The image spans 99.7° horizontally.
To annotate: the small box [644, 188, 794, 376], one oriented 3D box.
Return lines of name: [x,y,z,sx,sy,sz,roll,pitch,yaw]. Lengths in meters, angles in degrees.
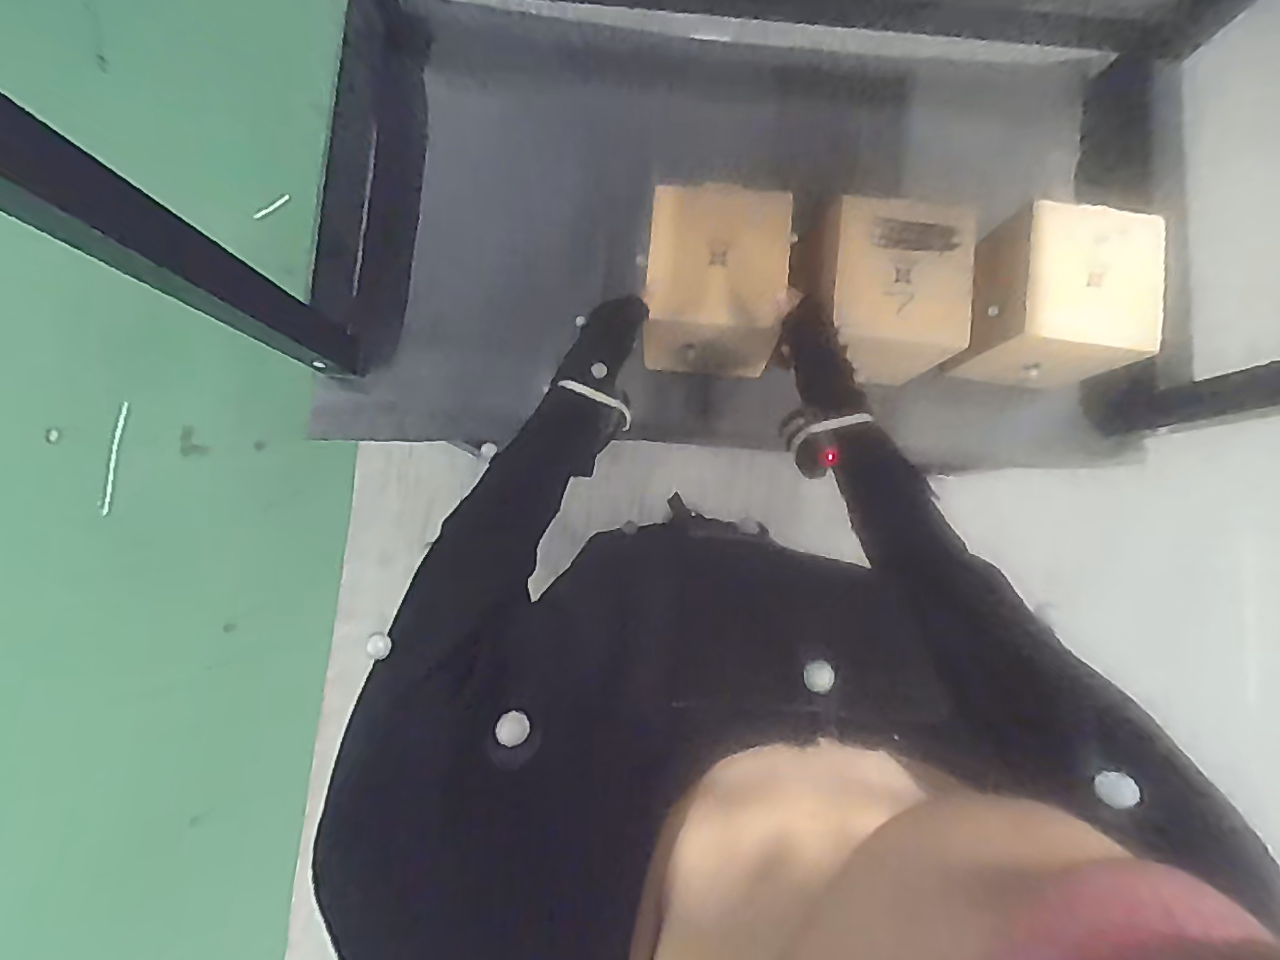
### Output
small box: [0.098,-0.248,0.711,0.168,0.176,0.179,5,80,4]

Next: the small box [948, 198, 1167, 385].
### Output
small box: [0.542,-0.238,0.725,0.168,0.176,0.179,8,84,0]
